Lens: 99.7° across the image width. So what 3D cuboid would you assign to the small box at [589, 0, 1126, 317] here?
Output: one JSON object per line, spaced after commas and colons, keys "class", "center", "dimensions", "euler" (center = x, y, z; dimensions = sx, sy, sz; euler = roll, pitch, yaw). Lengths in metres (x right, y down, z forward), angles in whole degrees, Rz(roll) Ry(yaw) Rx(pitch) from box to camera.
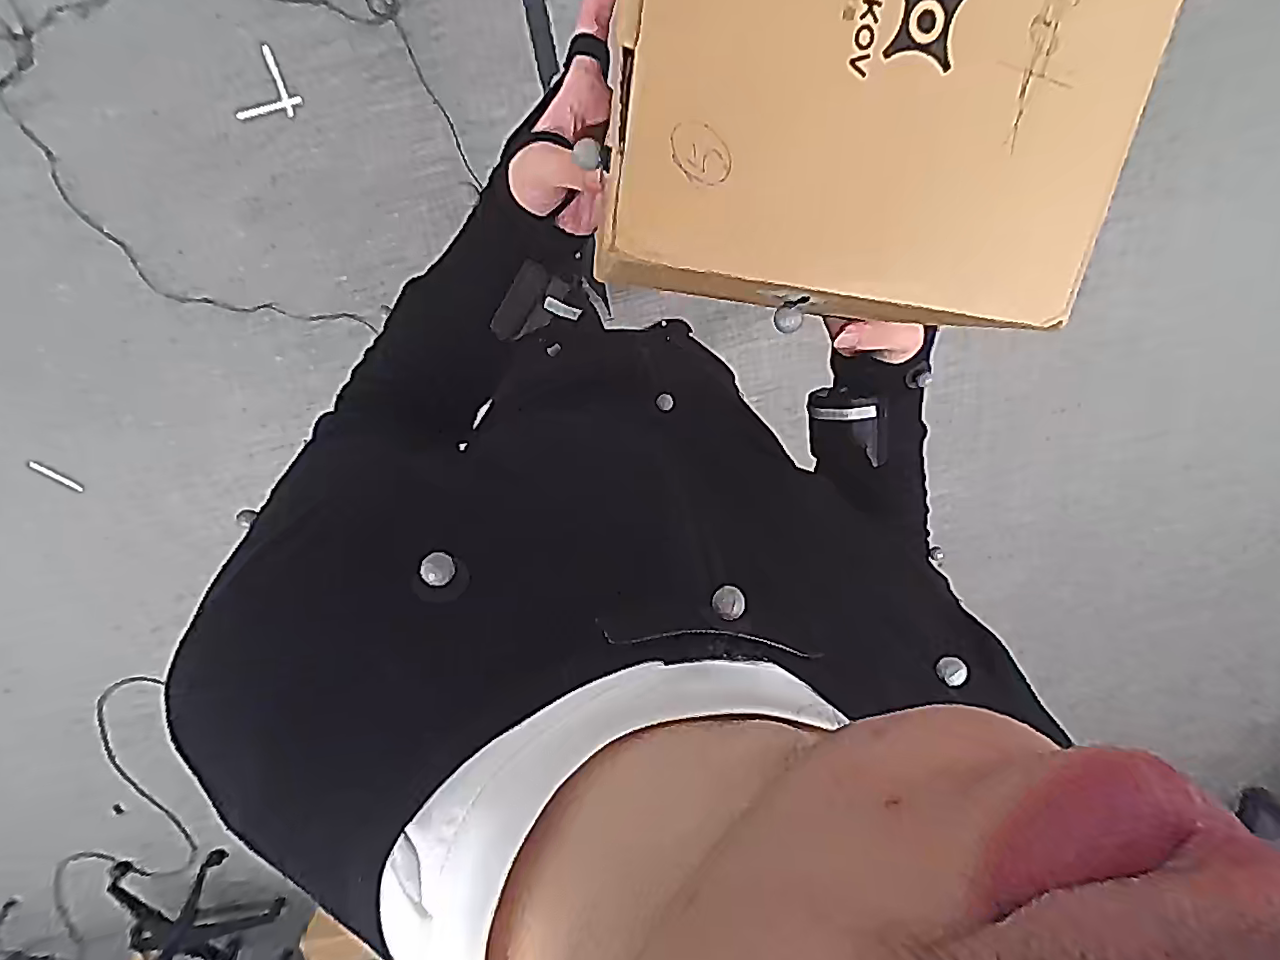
{"class": "small box", "center": [0.070, -0.174, 0.256], "dimensions": [0.179, 0.176, 0.168], "euler": [5, 108, -9]}
